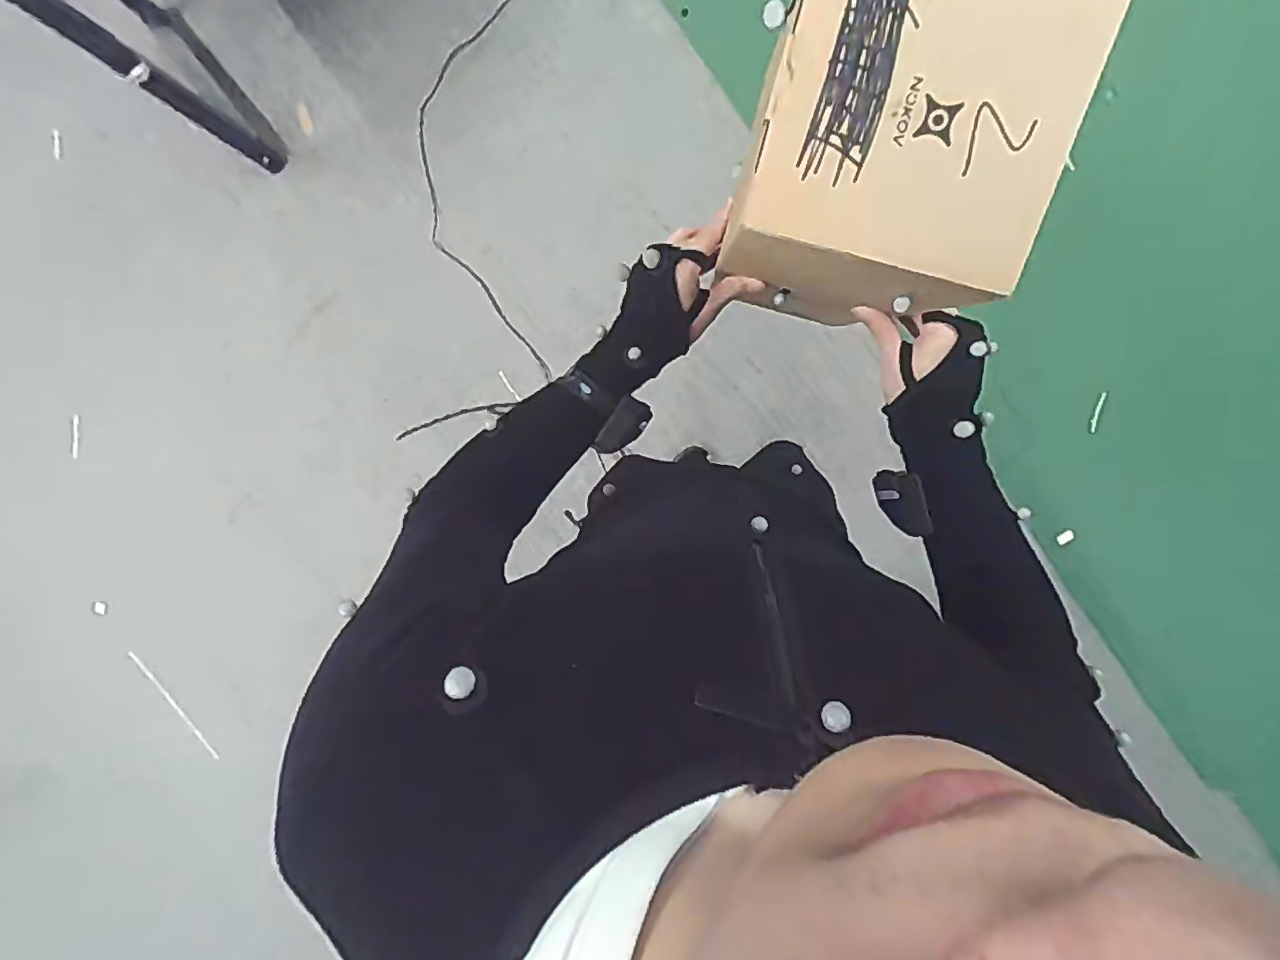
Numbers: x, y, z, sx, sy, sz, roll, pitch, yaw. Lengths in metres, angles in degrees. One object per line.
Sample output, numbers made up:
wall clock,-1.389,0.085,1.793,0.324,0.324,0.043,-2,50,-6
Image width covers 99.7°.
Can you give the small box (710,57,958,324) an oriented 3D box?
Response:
small box,0.173,-0.270,0.550,0.168,0.176,0.179,15,103,0
